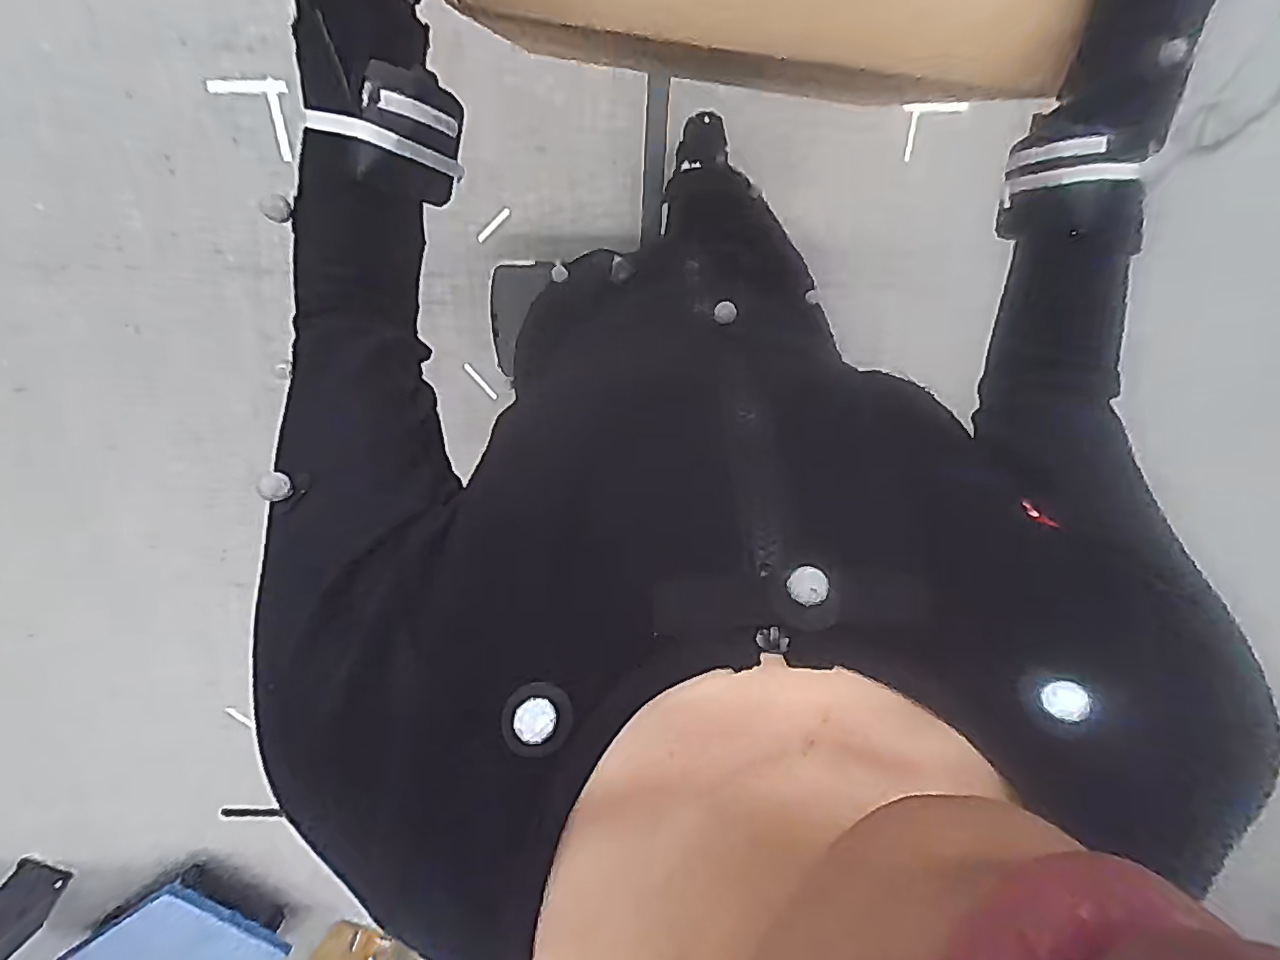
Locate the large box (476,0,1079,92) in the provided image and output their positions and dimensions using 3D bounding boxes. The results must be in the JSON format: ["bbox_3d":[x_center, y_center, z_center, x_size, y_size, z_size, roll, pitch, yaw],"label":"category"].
[{"bbox_3d":[0.092,-0.499,0.395,0.408,0.320,0.320,4,124,-5],"label":"large box"}]
